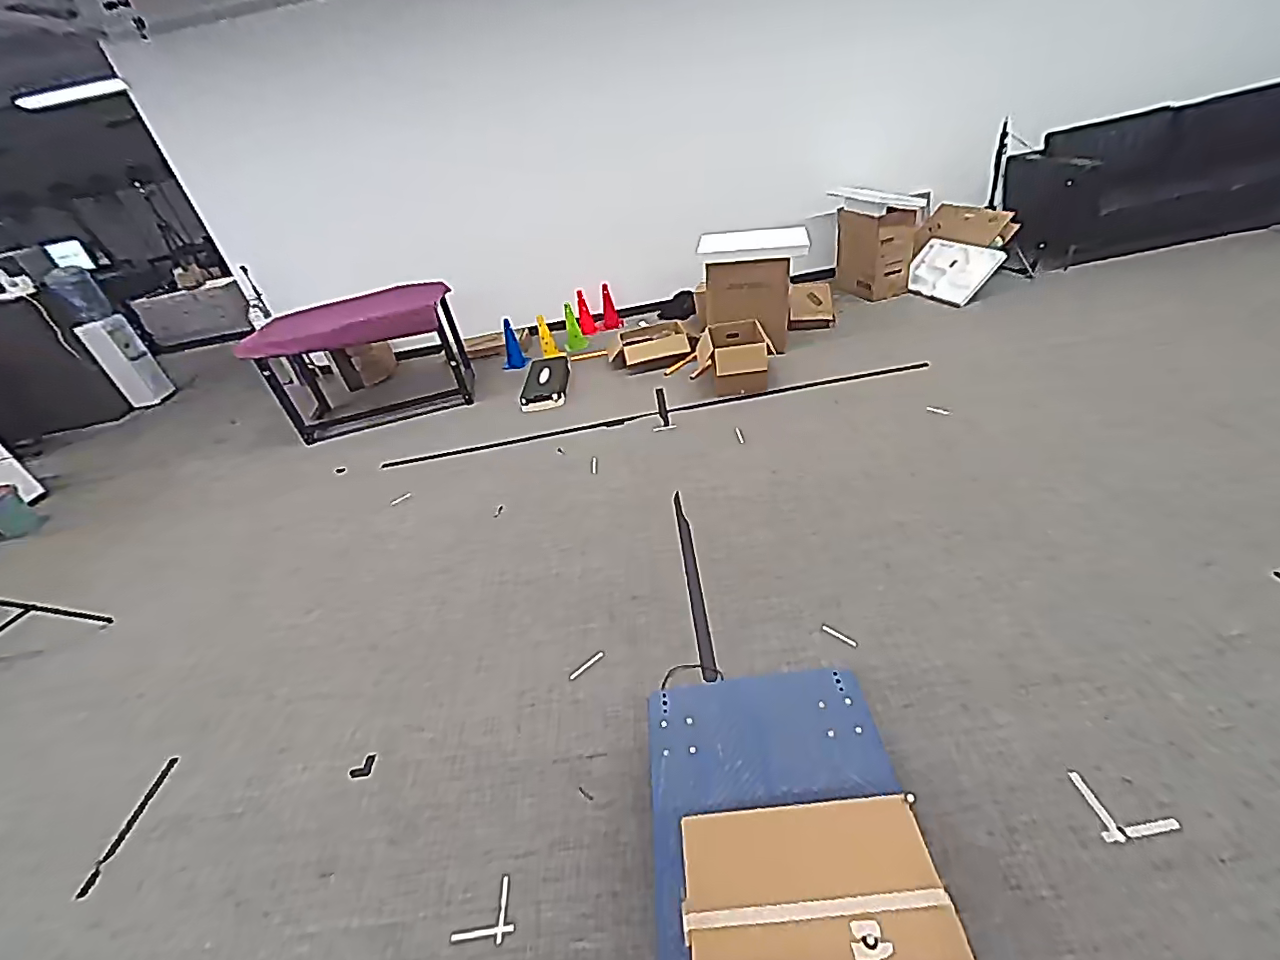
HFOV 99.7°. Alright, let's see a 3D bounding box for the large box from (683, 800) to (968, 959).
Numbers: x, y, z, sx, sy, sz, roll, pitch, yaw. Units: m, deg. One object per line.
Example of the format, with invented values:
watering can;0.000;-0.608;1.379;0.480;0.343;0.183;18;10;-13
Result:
large box;0.300;0.808;0.934;0.408;0.320;0.320;-8;35;4
